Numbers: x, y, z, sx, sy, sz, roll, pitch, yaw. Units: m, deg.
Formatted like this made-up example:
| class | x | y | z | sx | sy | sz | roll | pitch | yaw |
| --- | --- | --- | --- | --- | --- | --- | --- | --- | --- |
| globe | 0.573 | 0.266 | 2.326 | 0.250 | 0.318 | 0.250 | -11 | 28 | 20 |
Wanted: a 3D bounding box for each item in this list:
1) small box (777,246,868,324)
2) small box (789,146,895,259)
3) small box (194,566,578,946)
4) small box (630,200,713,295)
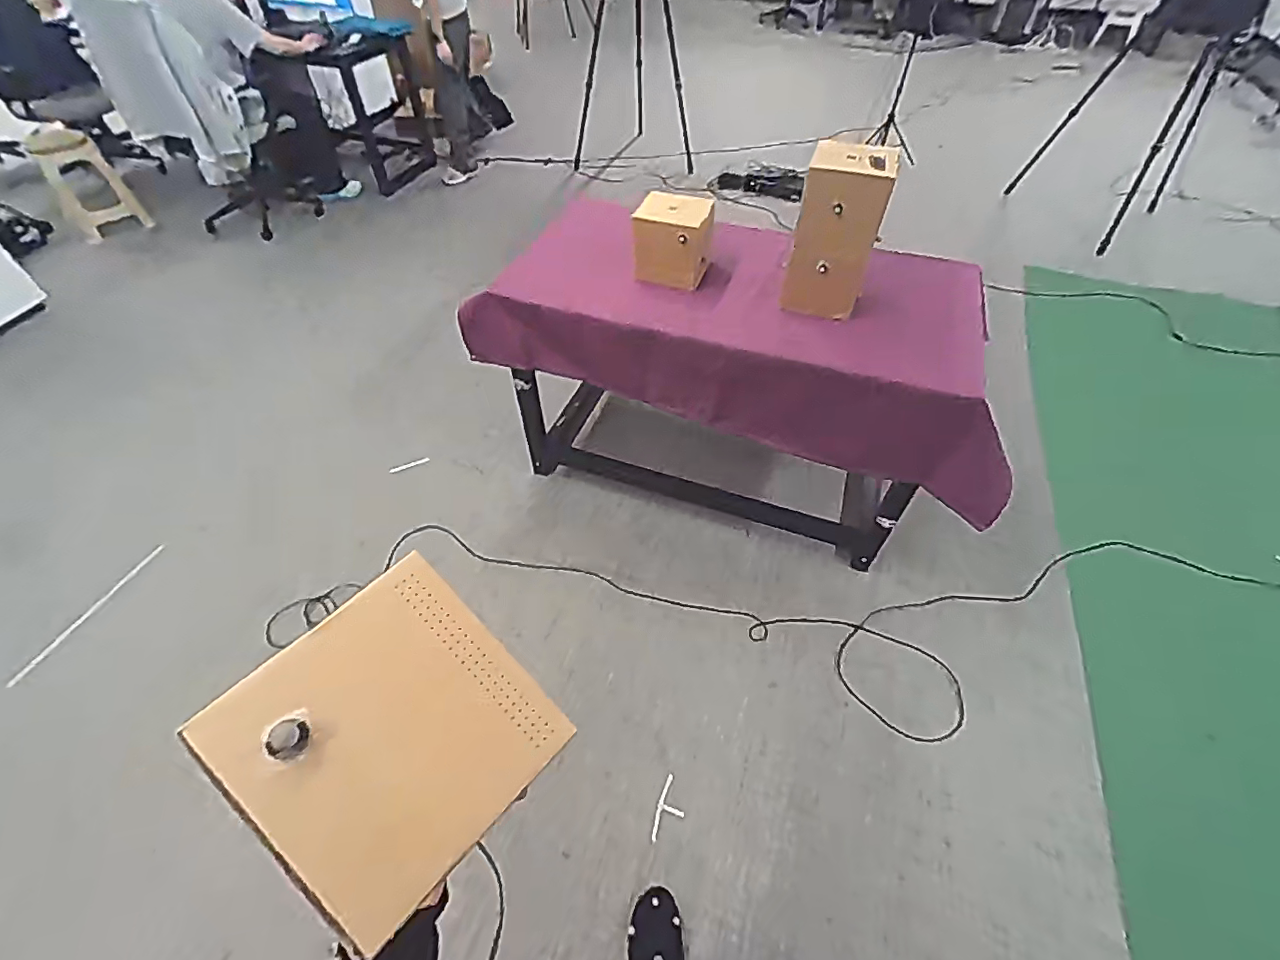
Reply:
| class | x | y | z | sx | sy | sz | roll | pitch | yaw |
| --- | --- | --- | --- | --- | --- | --- | --- | --- | --- |
| small box | 0.448 | -0.507 | 1.328 | 0.179 | 0.176 | 0.168 | 16 | 52 | 13 |
| small box | 0.447 | -0.615 | 1.205 | 0.179 | 0.176 | 0.168 | 14 | 51 | 13 |
| small box | -0.177 | 0.186 | 0.423 | 0.179 | 0.168 | 0.176 | 47 | 64 | 4 |
| small box | 0.082 | -0.610 | 1.422 | 0.179 | 0.176 | 0.168 | 14 | 51 | 11 |
